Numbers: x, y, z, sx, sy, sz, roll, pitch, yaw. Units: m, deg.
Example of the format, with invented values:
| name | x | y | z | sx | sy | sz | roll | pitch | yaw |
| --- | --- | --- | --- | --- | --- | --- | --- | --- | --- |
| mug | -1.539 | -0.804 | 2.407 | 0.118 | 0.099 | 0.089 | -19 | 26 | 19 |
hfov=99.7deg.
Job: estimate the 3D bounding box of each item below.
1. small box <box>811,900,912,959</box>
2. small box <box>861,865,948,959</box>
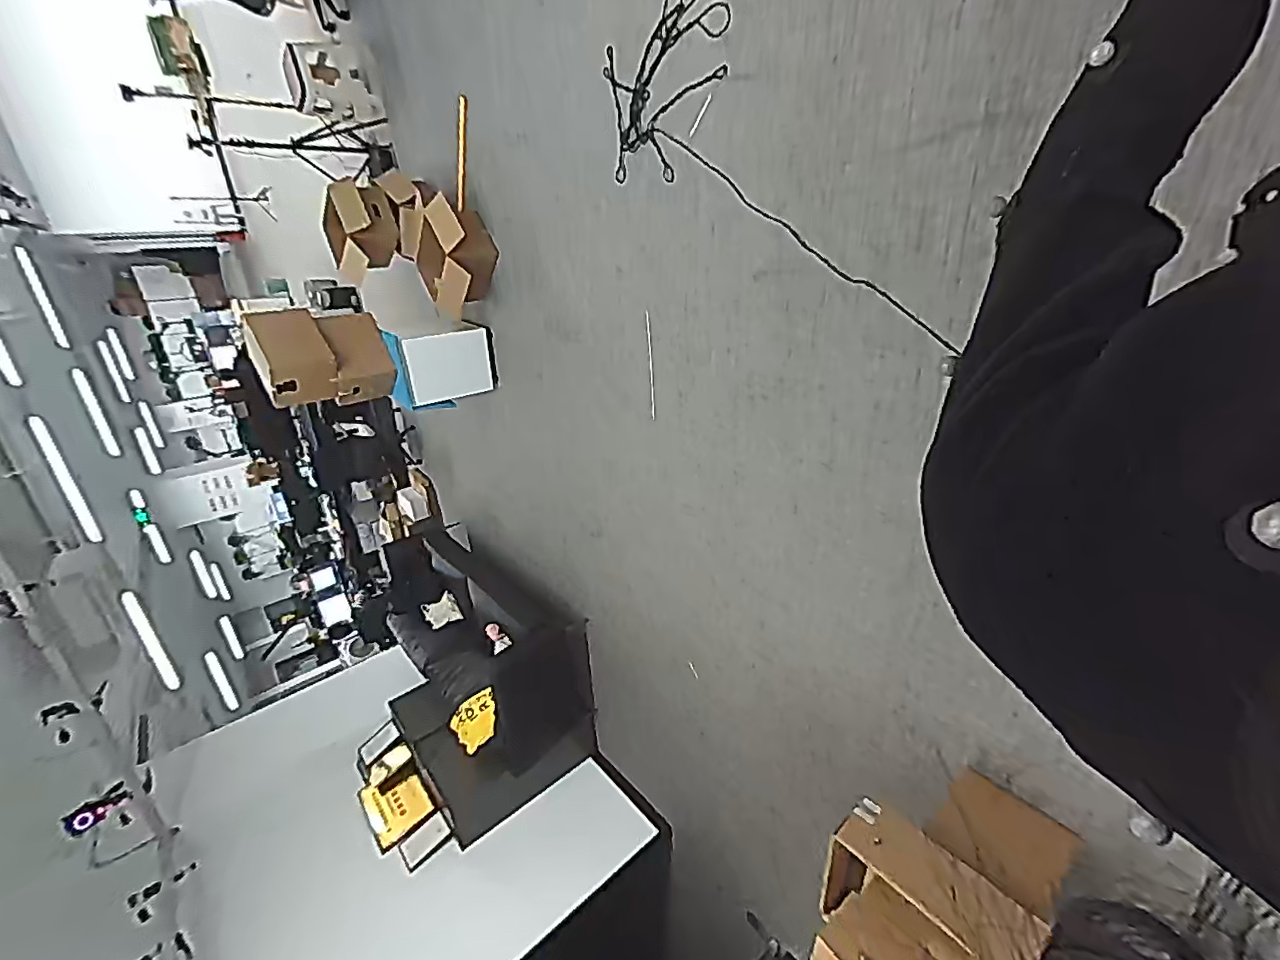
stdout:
| name | x | y | z | sx | sy | sz | roll | pitch | yaw |
| --- | --- | --- | --- | --- | --- | --- | --- | --- | --- |
| small box | 0.553 | 1.225 | 1.359 | 0.179 | 0.176 | 0.168 | 30 | 128 | 44 |
| small box | 0.690 | 1.187 | 1.443 | 0.168 | 0.176 | 0.179 | 31 | 129 | 43 |
